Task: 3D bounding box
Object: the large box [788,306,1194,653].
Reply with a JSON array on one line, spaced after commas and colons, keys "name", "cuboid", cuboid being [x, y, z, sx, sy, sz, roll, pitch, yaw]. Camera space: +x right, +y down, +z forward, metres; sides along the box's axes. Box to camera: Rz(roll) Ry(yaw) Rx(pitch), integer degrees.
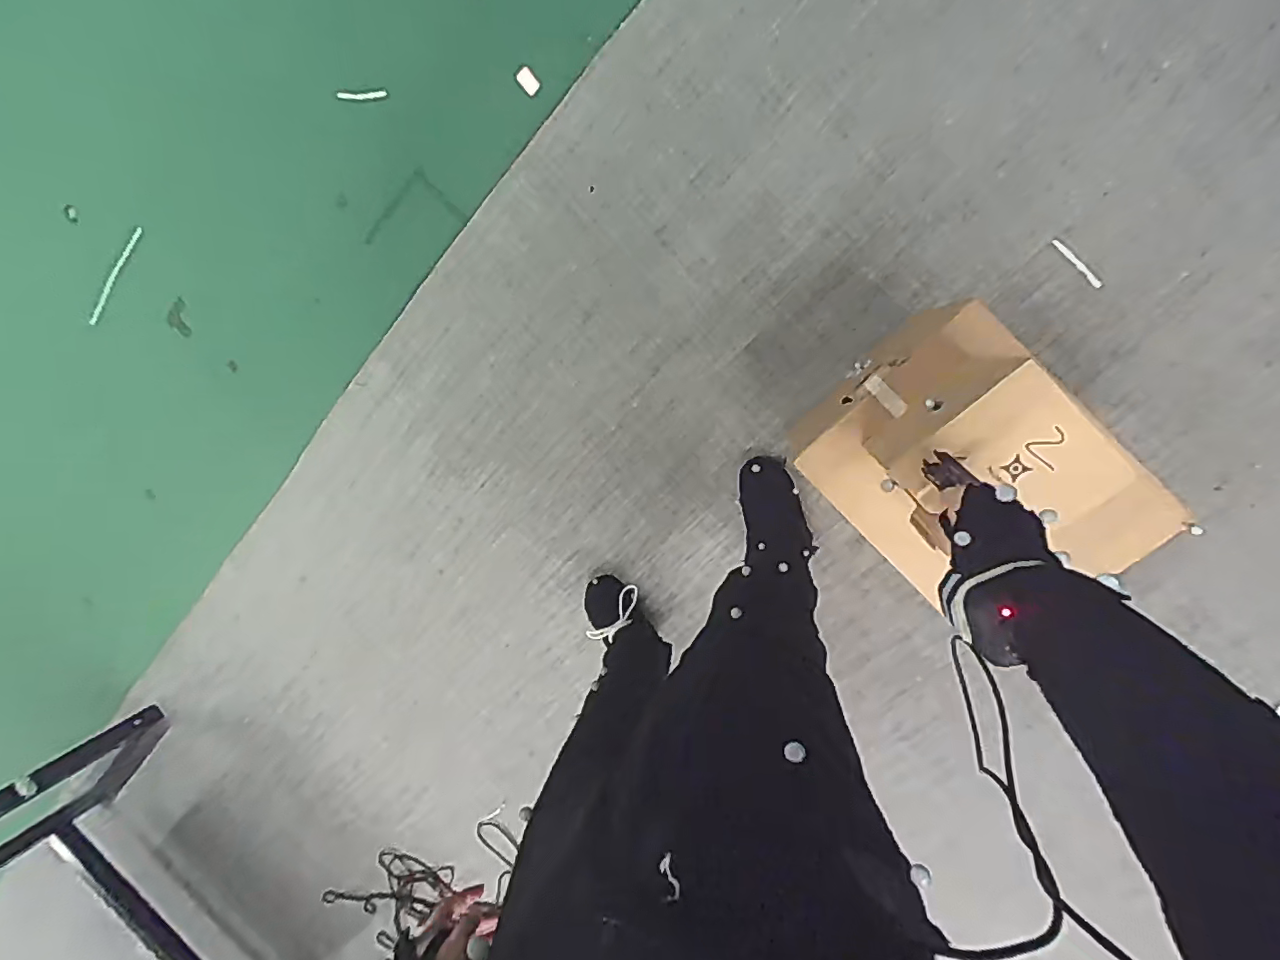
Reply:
[{"name": "large box", "cuboid": [0.496, -0.019, 0.876, 0.408, 0.320, 0.320, 45, 109, 0]}]
